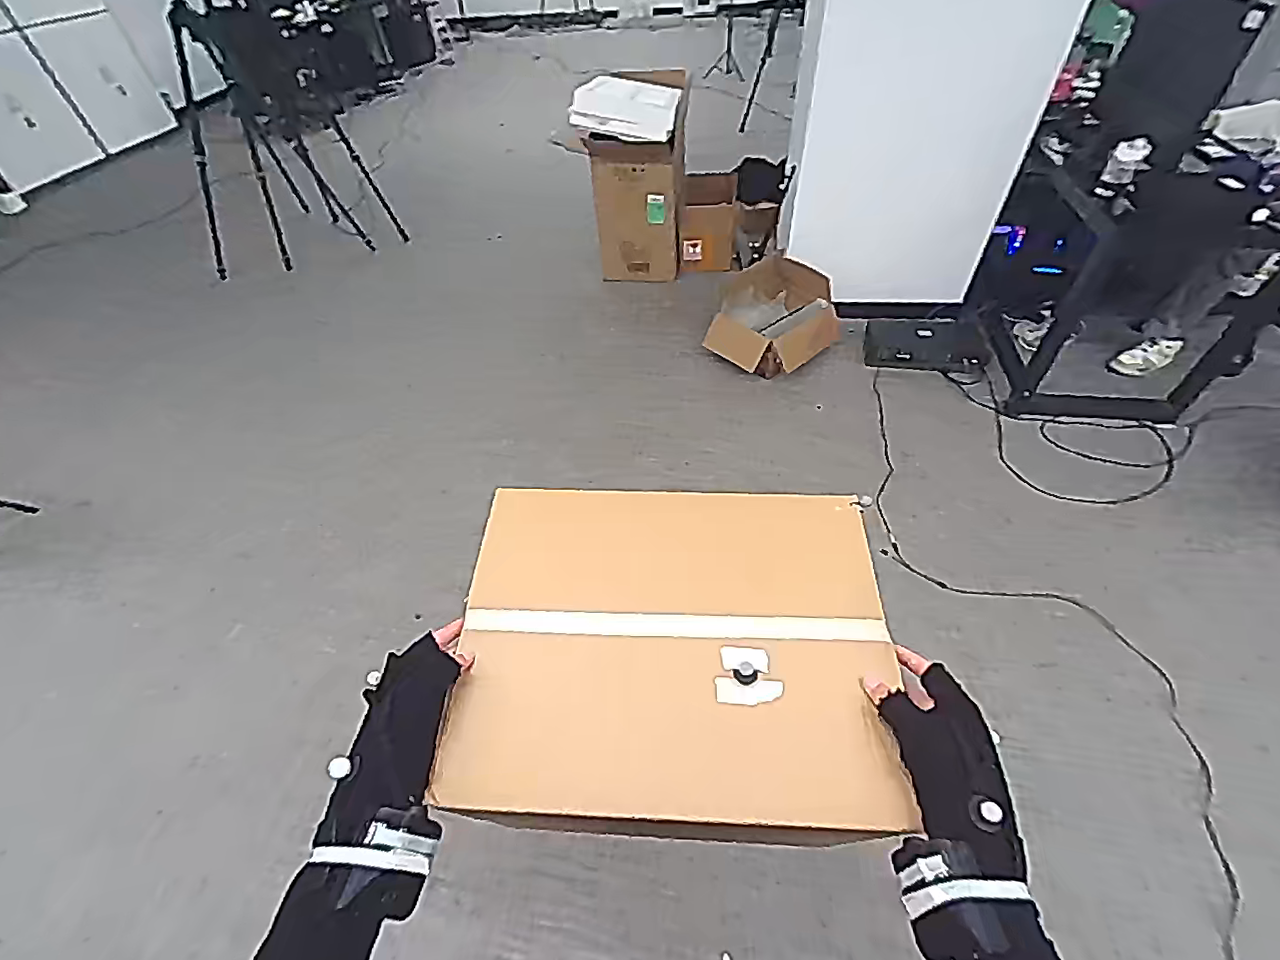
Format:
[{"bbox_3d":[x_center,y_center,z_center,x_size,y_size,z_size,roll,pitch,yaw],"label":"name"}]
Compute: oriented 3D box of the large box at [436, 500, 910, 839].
[{"bbox_3d":[0.031,0.236,0.653,0.408,0.320,0.320,1,54,3],"label":"large box"}]
